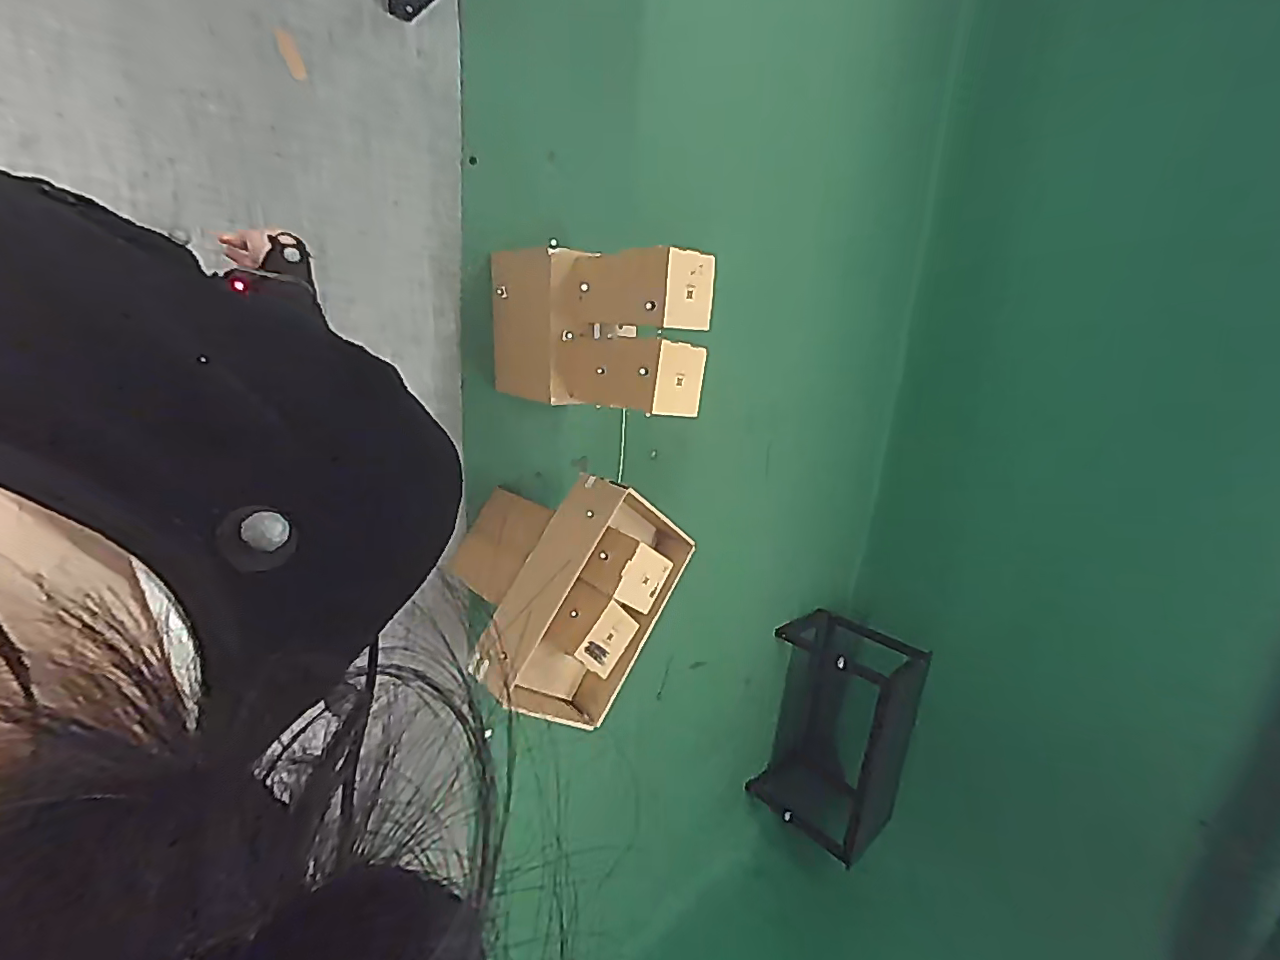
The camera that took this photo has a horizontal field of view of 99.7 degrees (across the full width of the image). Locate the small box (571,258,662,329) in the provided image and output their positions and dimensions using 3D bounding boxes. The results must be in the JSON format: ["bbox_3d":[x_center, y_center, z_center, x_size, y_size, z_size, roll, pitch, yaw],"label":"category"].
[{"bbox_3d":[-0.063,-0.489,1.429,0.179,0.176,0.168,-15,113,-41],"label":"small box"}]

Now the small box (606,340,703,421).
[{"bbox_3d":[0.032,-0.252,1.367,0.168,0.176,0.179,-2,103,-44],"label":"small box"}]
